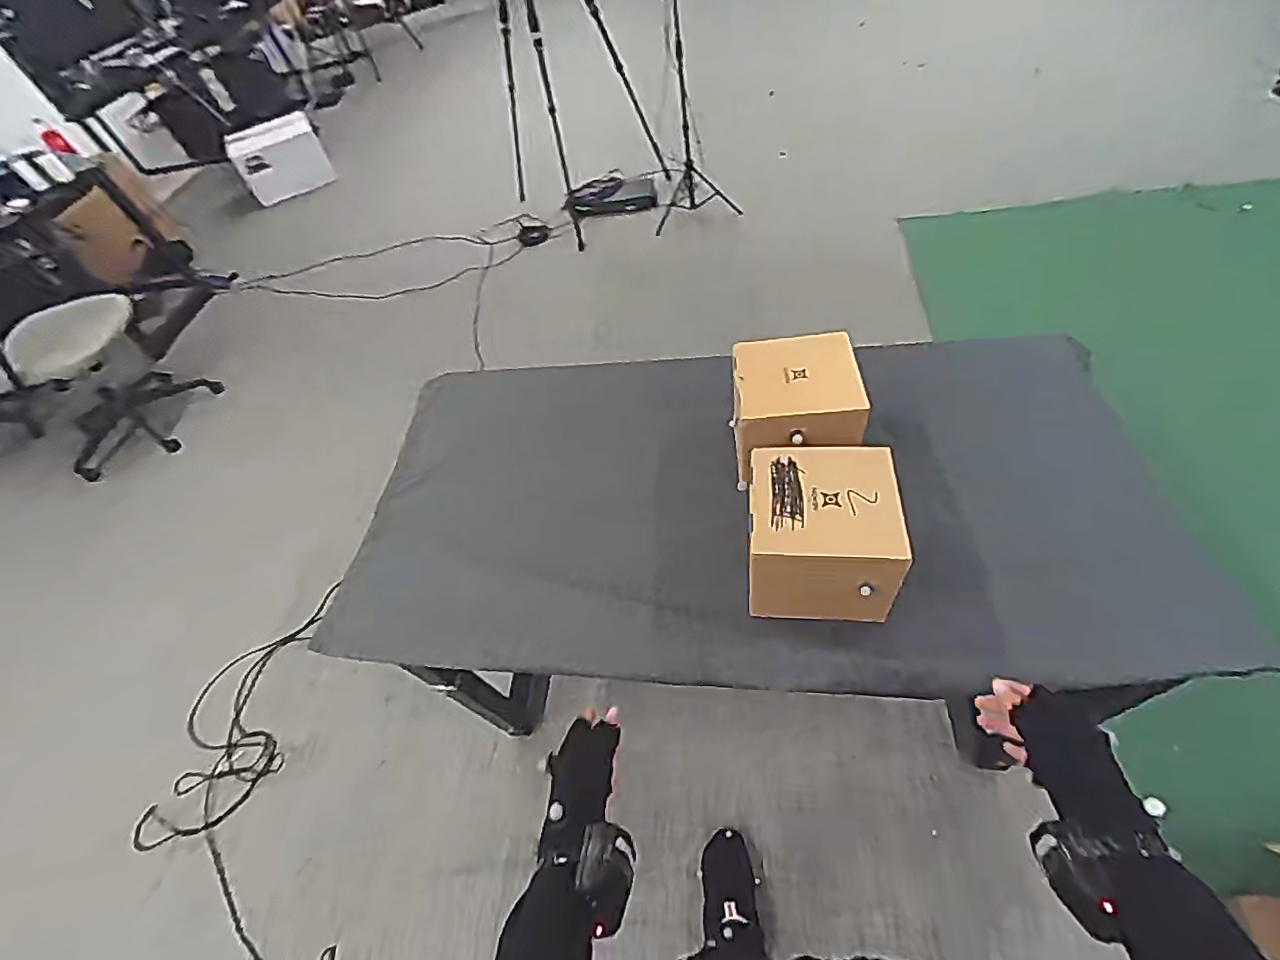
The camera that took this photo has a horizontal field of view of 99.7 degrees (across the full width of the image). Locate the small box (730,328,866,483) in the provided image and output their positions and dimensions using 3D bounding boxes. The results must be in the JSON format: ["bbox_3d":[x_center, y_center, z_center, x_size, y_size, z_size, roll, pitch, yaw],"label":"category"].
[{"bbox_3d":[0.236,-0.111,0.851,0.179,0.176,0.168,-5,53,9],"label":"small box"}]
